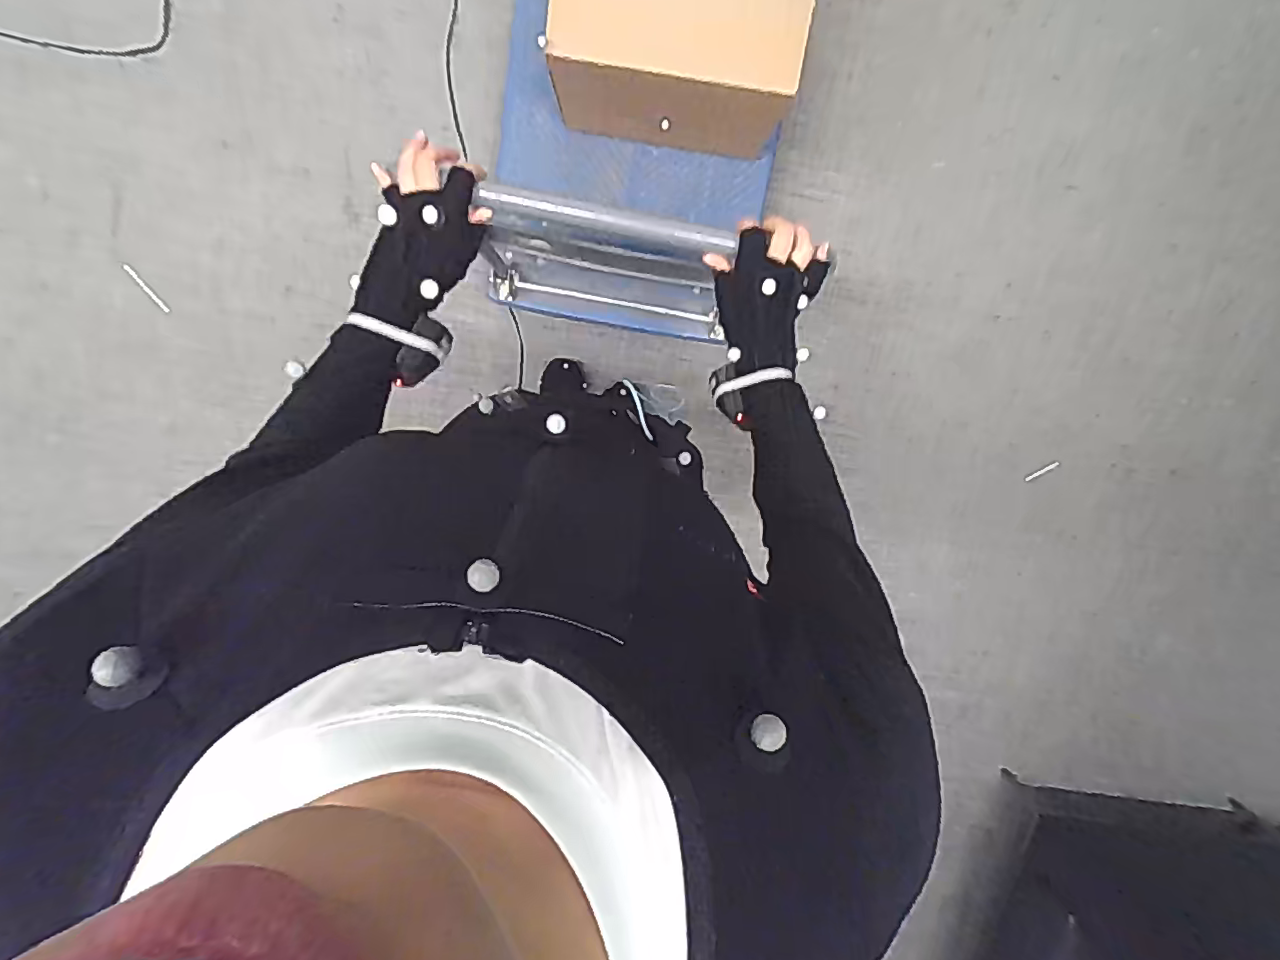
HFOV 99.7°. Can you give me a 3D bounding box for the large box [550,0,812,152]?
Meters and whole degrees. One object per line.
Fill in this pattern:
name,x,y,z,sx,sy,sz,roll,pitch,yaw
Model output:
large box,0.072,-0.827,0.966,0.408,0.320,0.320,7,103,-3
